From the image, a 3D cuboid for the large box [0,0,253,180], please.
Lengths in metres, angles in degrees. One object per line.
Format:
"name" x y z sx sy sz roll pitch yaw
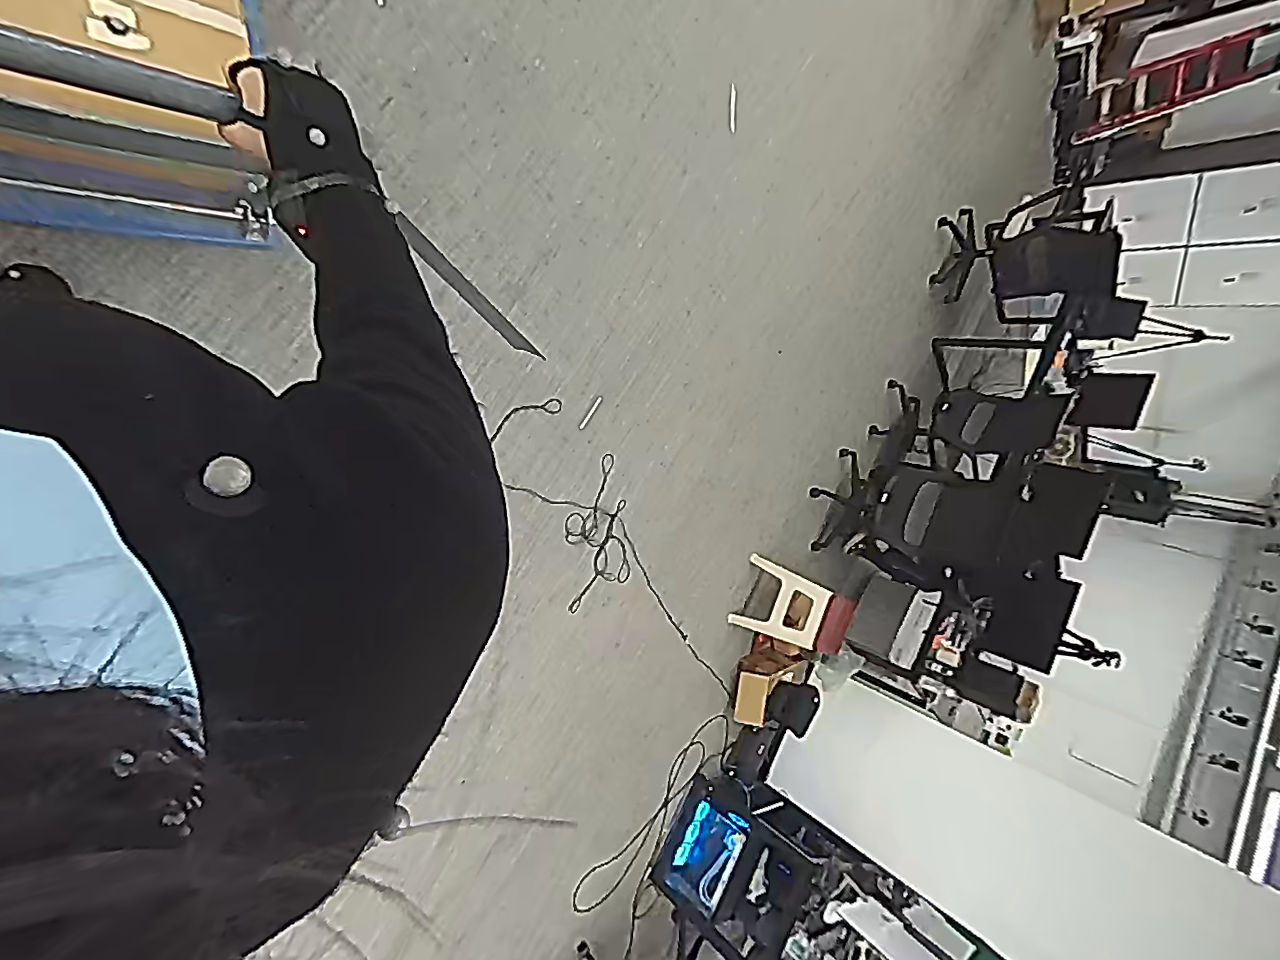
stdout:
"large box" -0.808 -0.634 0.716 0.408 0.320 0.320 -12 111 -44
